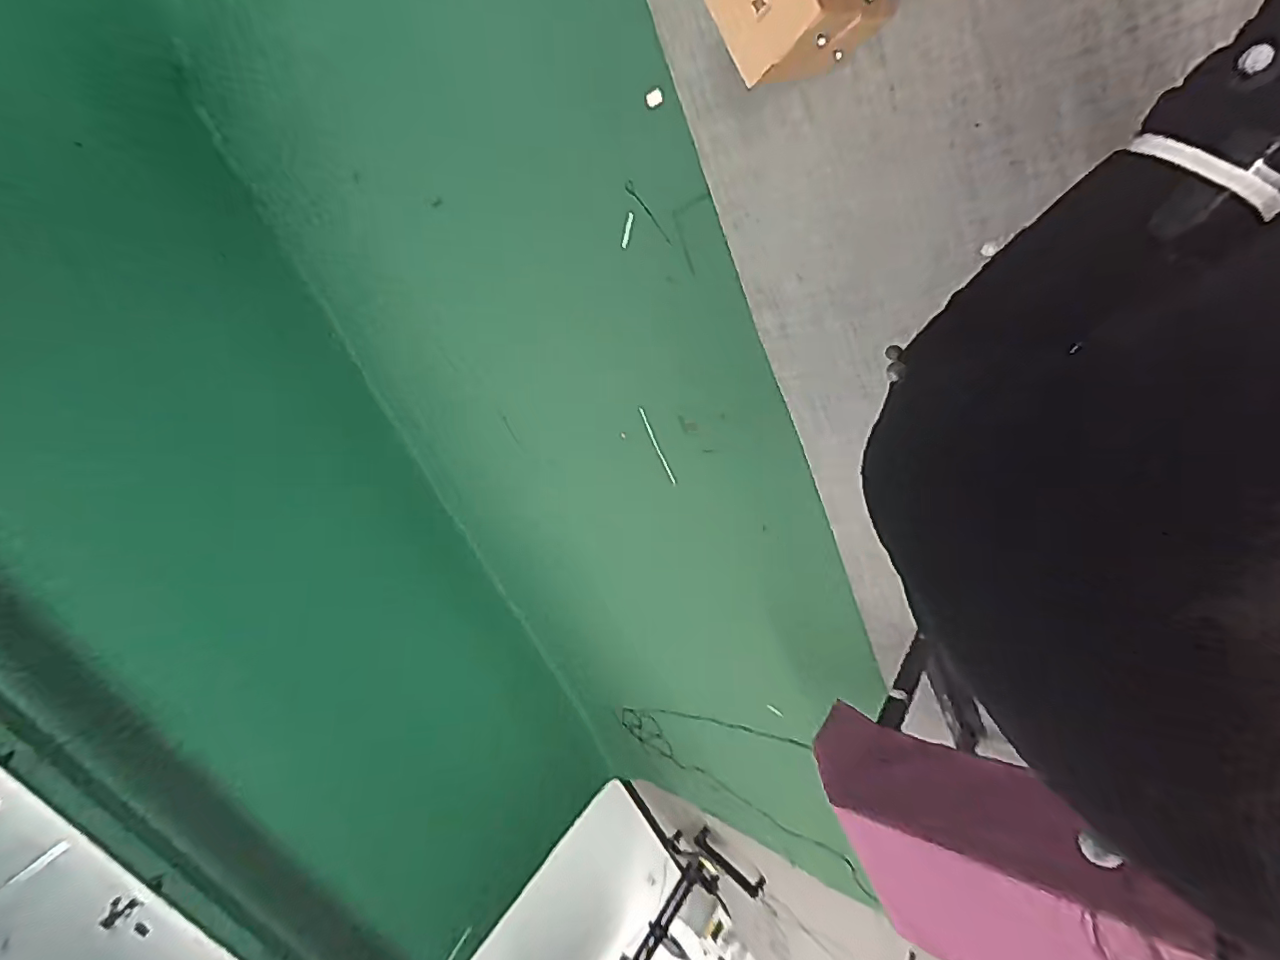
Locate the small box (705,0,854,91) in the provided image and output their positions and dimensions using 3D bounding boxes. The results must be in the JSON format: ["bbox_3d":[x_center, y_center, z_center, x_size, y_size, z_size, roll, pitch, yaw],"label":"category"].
[{"bbox_3d":[0.259,-0.860,0.986,0.168,0.176,0.179,-16,109,51],"label":"small box"}]
